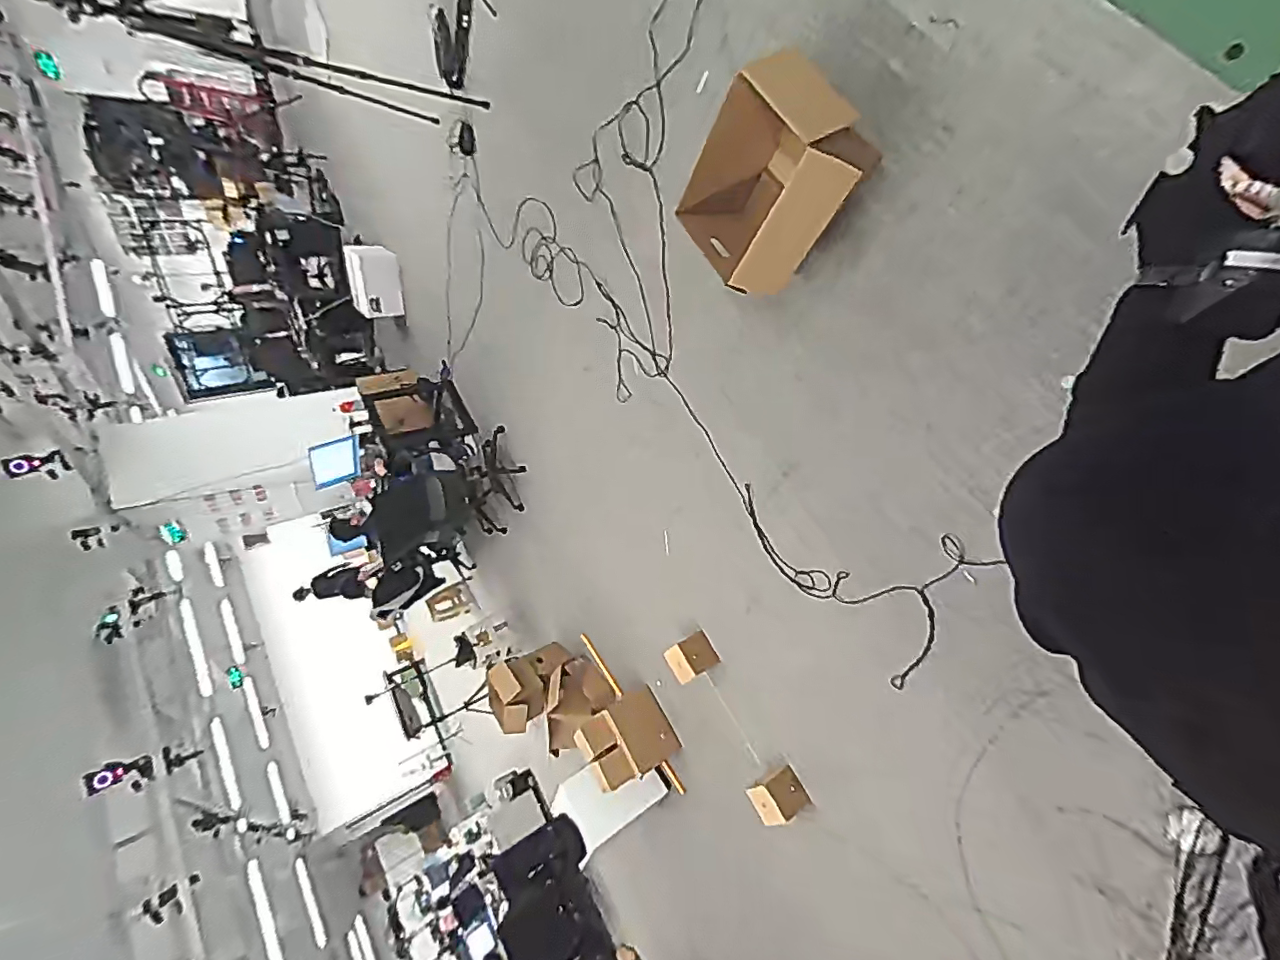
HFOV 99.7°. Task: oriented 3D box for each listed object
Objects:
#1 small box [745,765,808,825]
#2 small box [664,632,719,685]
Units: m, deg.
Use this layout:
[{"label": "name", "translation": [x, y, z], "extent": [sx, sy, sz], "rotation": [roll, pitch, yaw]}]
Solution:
[{"label": "small box", "translation": [0.609, 1.400, 2.406], "extent": [0.168, 0.176, 0.179], "rotation": [57, 144, 20]}, {"label": "small box", "translation": [0.252, 0.868, 2.649], "extent": [0.179, 0.176, 0.168], "rotation": [57, 143, 19]}]
